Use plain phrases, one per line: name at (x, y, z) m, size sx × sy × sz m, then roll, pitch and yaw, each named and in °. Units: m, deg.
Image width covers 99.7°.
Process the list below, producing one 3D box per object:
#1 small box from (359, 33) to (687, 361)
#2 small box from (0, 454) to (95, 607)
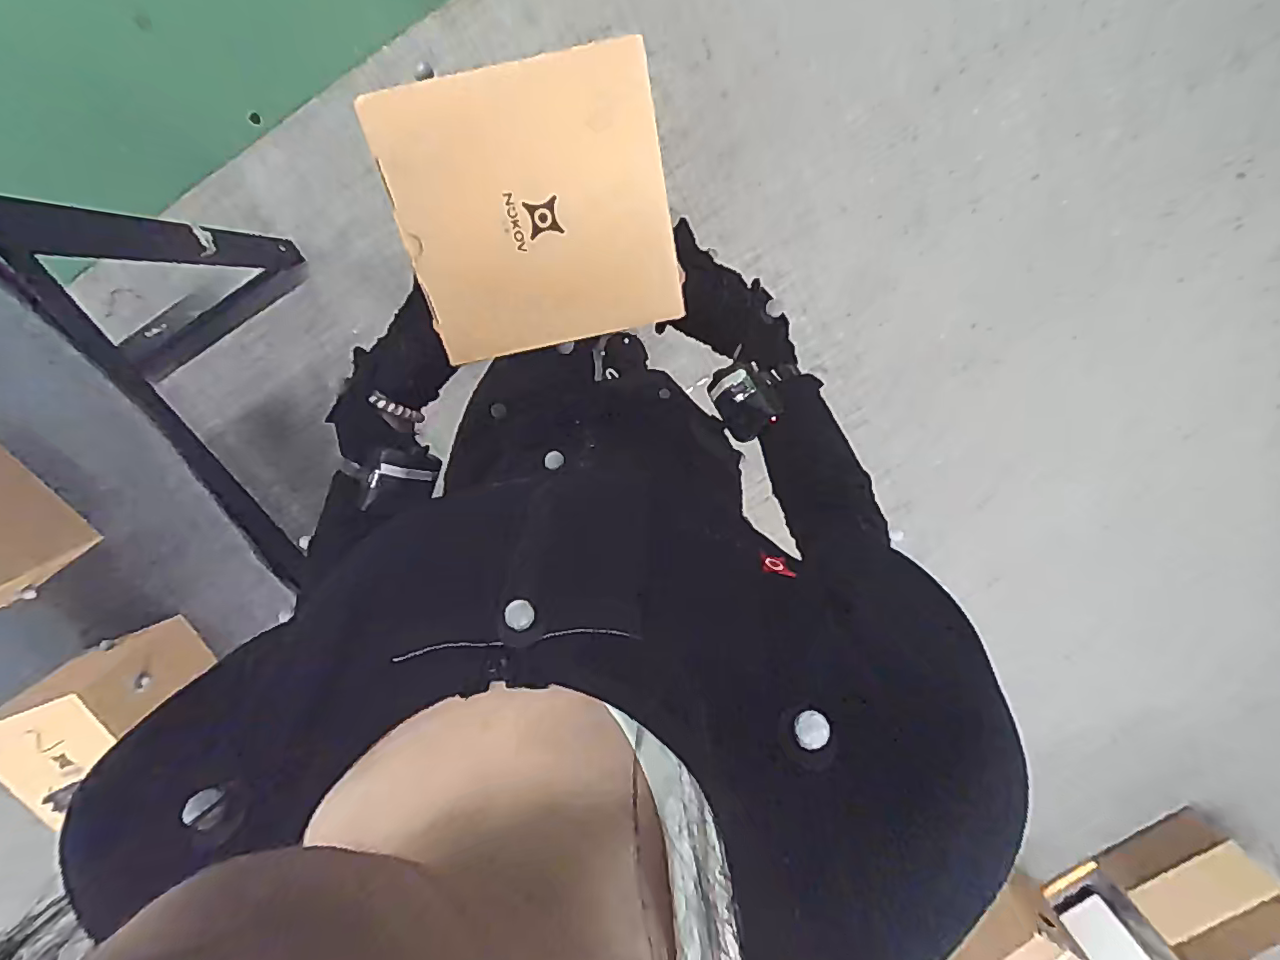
small box at (-0.072, -0.210, 0.419) m, size 0.179 × 0.176 × 0.168 m, roll -12°, pitch 119°, yaw 2°
small box at (-0.841, 0.081, 0.642) m, size 0.168 × 0.176 × 0.179 m, roll -32°, pitch 108°, yaw 8°
